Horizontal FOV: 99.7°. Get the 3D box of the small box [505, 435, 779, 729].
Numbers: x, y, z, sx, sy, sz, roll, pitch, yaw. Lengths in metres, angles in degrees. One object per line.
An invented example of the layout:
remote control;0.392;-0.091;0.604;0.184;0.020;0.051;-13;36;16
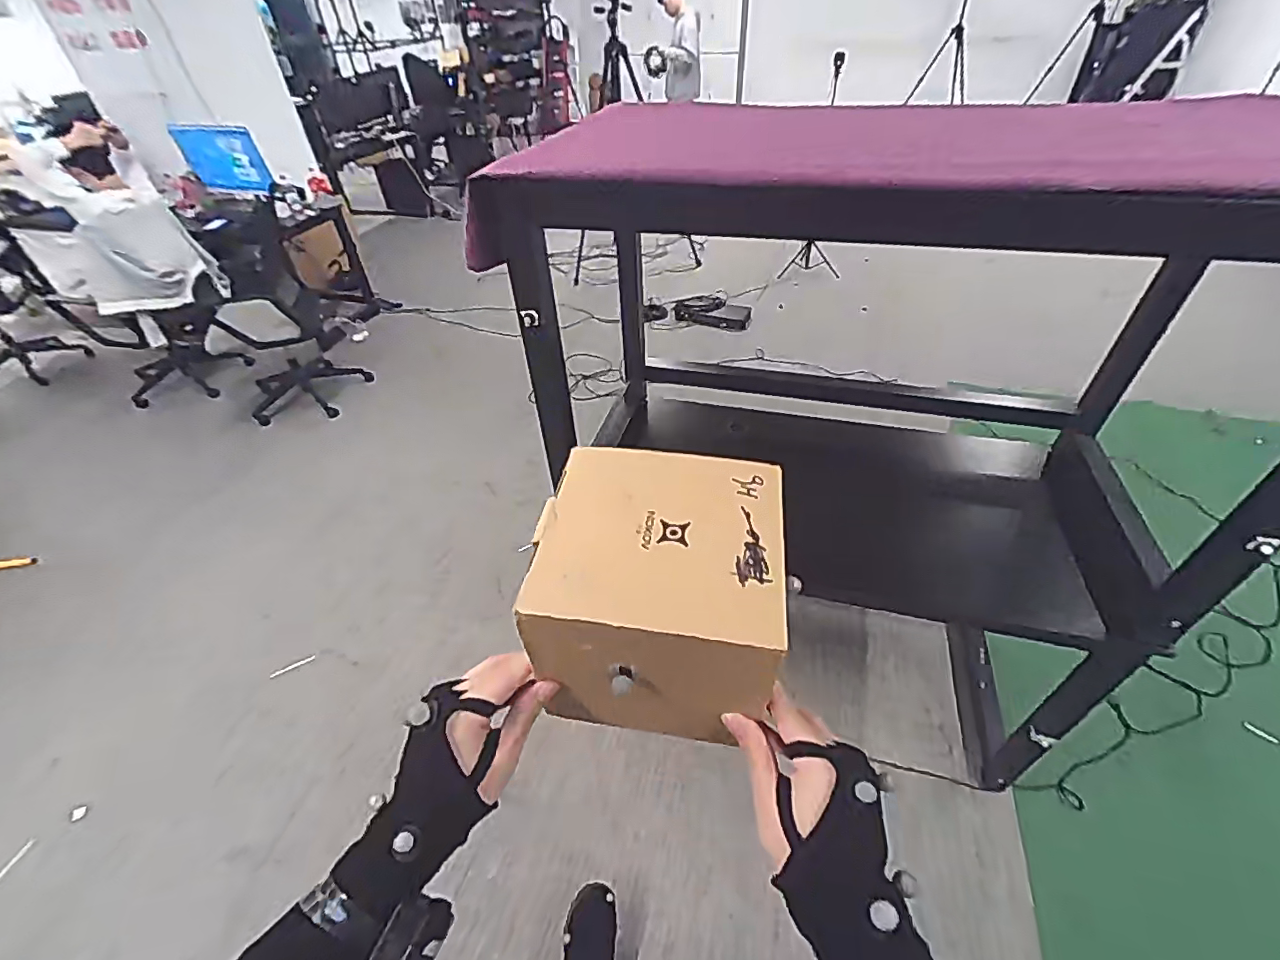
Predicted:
small box;0.015;0.083;0.443;0.179;0.176;0.168;5;46;8
